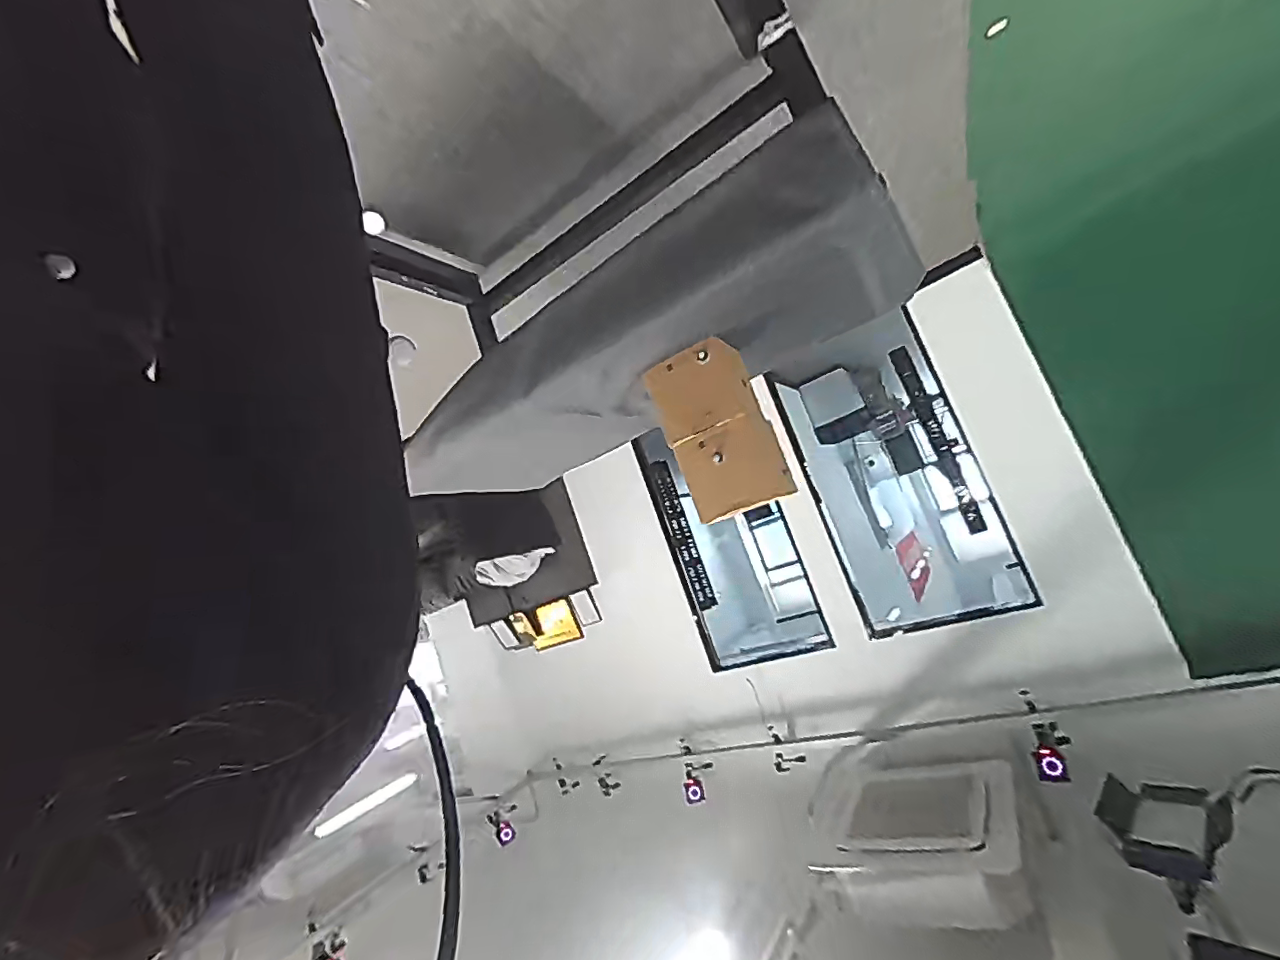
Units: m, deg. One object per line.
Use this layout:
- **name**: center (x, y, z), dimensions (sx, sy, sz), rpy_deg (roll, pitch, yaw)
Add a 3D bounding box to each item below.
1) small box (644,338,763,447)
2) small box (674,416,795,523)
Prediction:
- **small box**: center (0.132, -0.176, 1.121), dimensions (0.168, 0.176, 0.179), rpy_deg (-23, 172, 25)
- **small box**: center (0.196, -0.023, 1.110), dimensions (0.168, 0.176, 0.179), rpy_deg (-24, 170, 27)
